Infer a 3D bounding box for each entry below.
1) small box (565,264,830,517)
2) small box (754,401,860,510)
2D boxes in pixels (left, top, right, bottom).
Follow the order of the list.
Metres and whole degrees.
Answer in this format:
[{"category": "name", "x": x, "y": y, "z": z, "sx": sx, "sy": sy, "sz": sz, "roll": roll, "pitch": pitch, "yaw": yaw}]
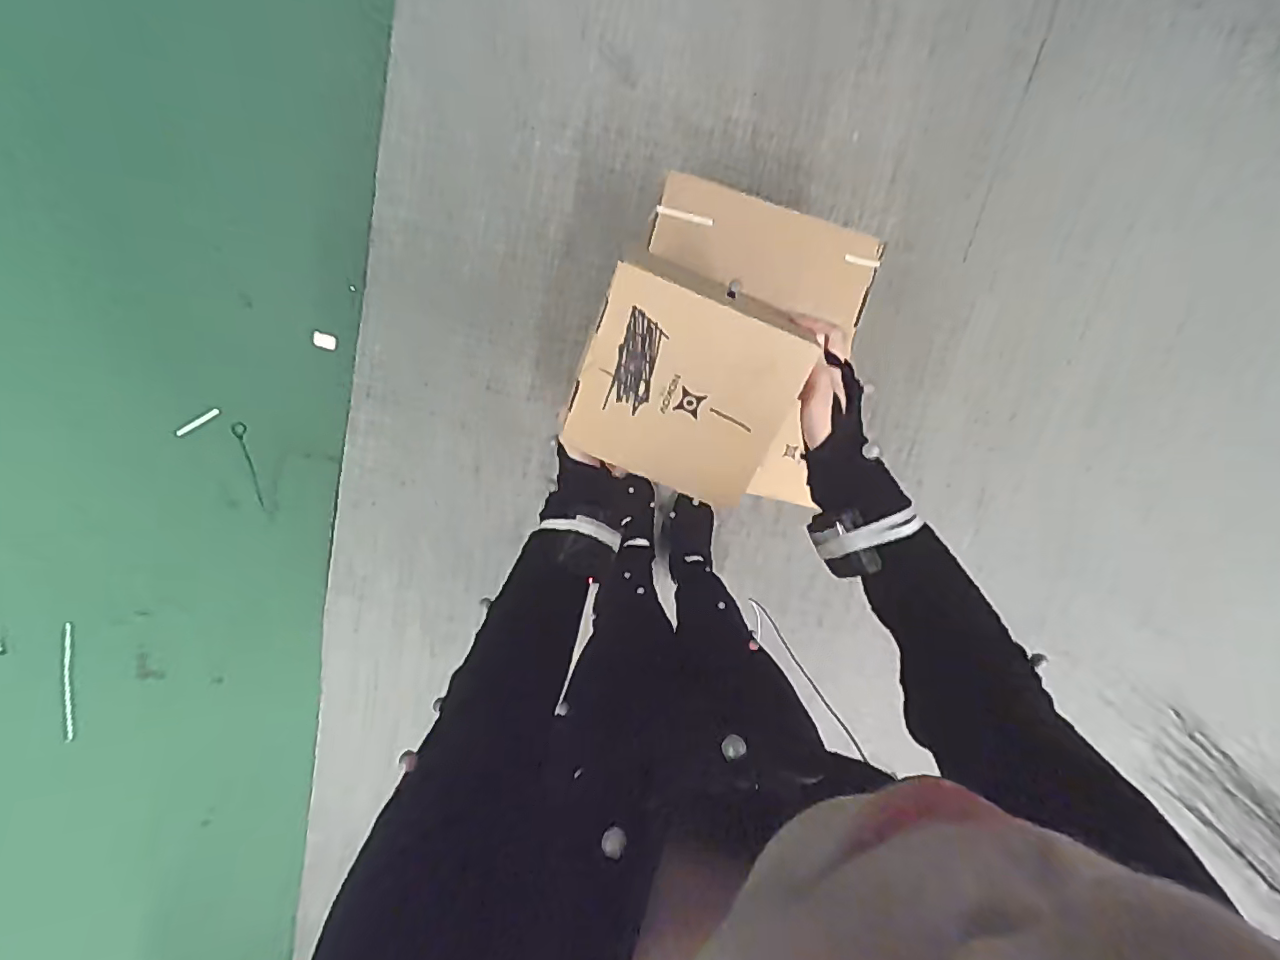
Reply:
[{"category": "small box", "x": 0.050, "y": -0.097, "z": 0.522, "sx": 0.179, "sy": 0.176, "sz": 0.168, "roll": 22, "pitch": 116, "yaw": -3}, {"category": "small box", "x": 0.244, "y": -0.061, "z": 0.942, "sx": 0.179, "sy": 0.176, "sz": 0.168, "roll": 12, "pitch": 101, "yaw": -5}]
